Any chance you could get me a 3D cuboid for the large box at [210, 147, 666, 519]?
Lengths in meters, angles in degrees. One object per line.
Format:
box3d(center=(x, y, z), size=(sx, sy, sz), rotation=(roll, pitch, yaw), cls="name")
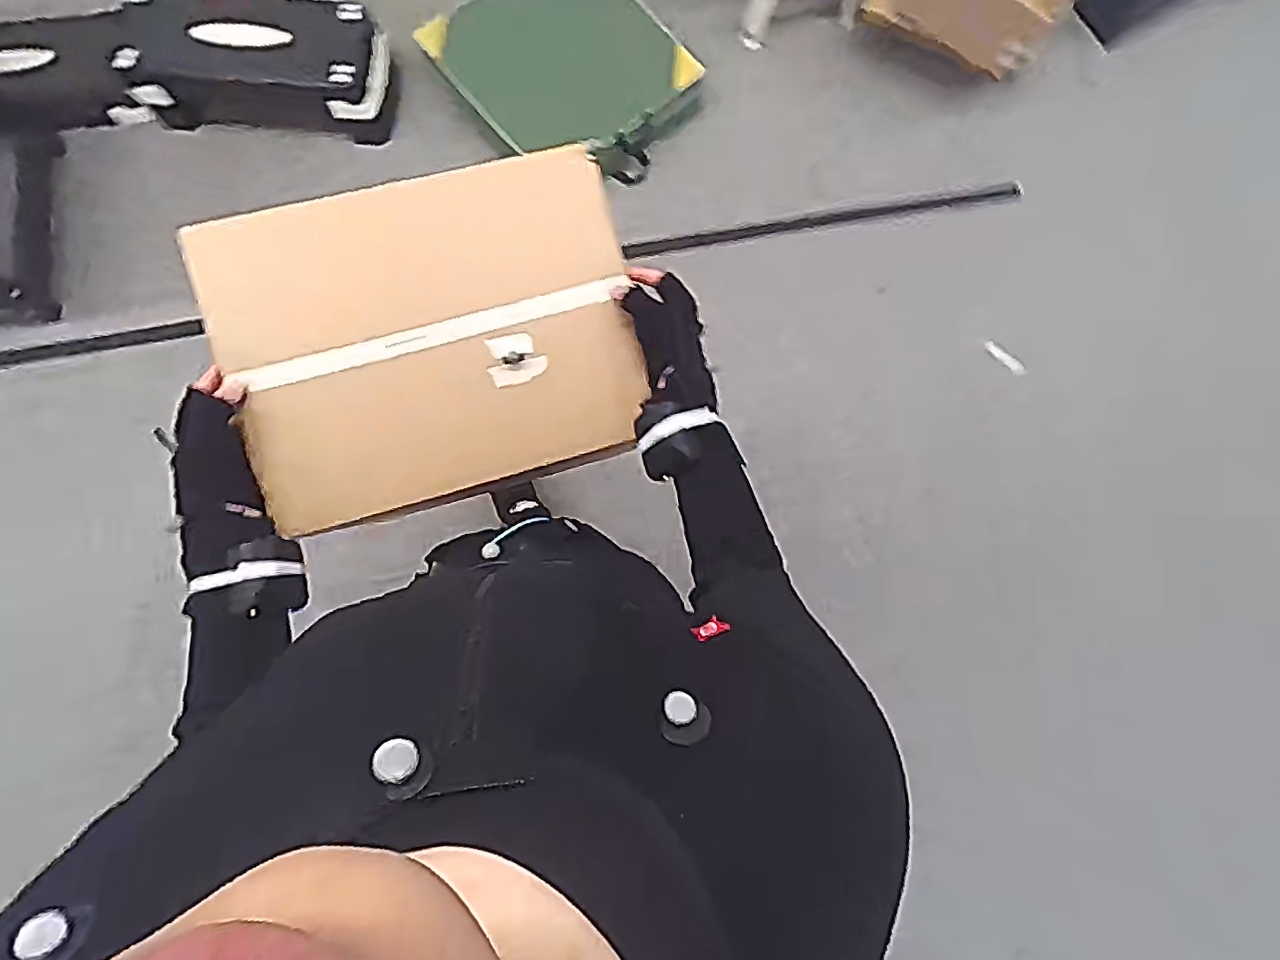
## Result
box3d(center=(-0.219, -0.158, 0.710), size=(0.408, 0.320, 0.320), rotation=(-16, 92, -8), cls="large box")
